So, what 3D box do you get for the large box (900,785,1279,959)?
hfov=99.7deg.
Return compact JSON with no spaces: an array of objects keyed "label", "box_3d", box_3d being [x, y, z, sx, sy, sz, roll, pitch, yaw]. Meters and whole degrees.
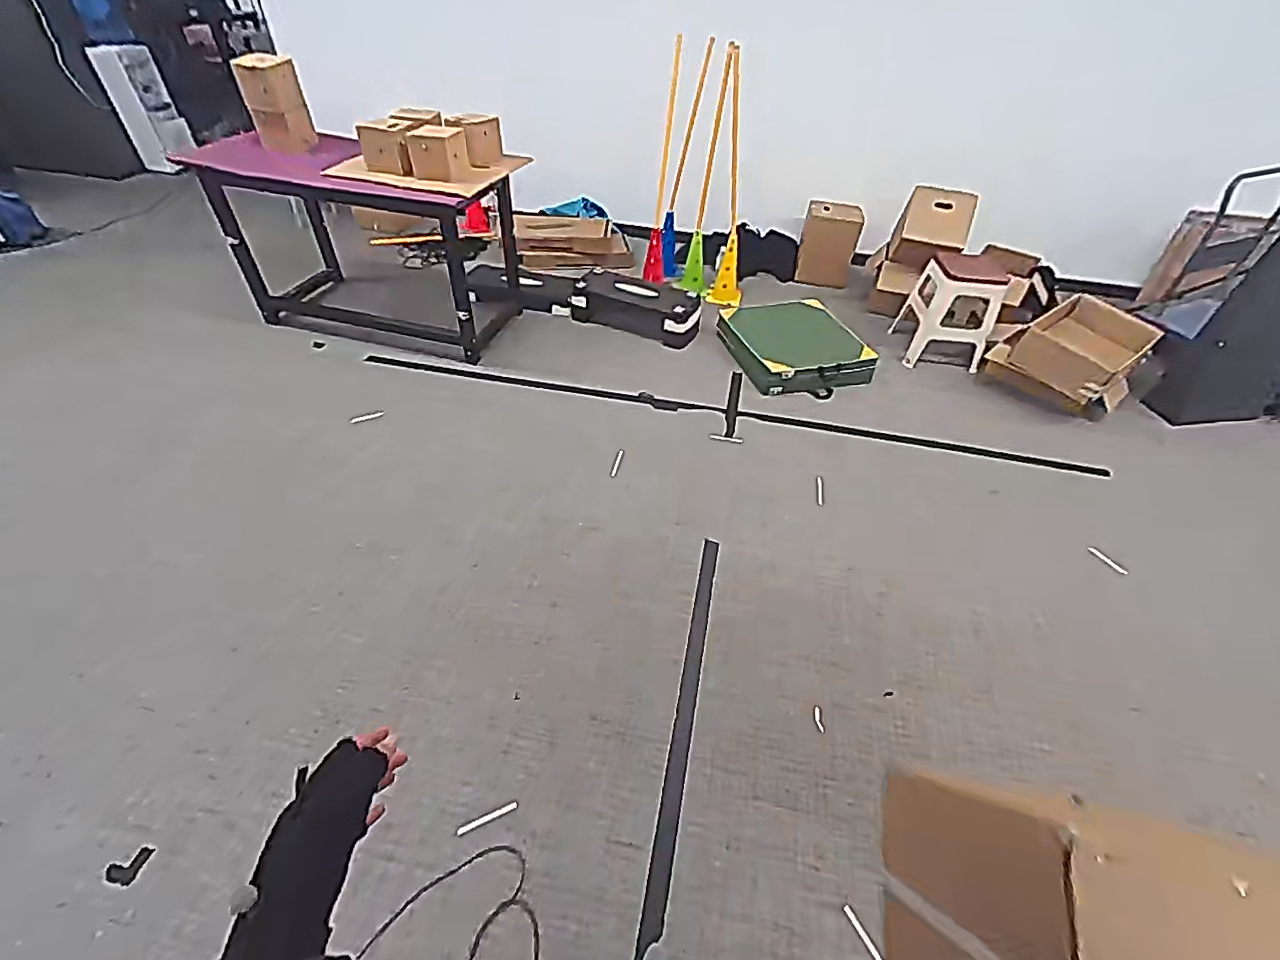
[{"label":"large box","box_3d":[0.553,0.587,0.644,0.320,0.408,0.320,8,68,4]}]
